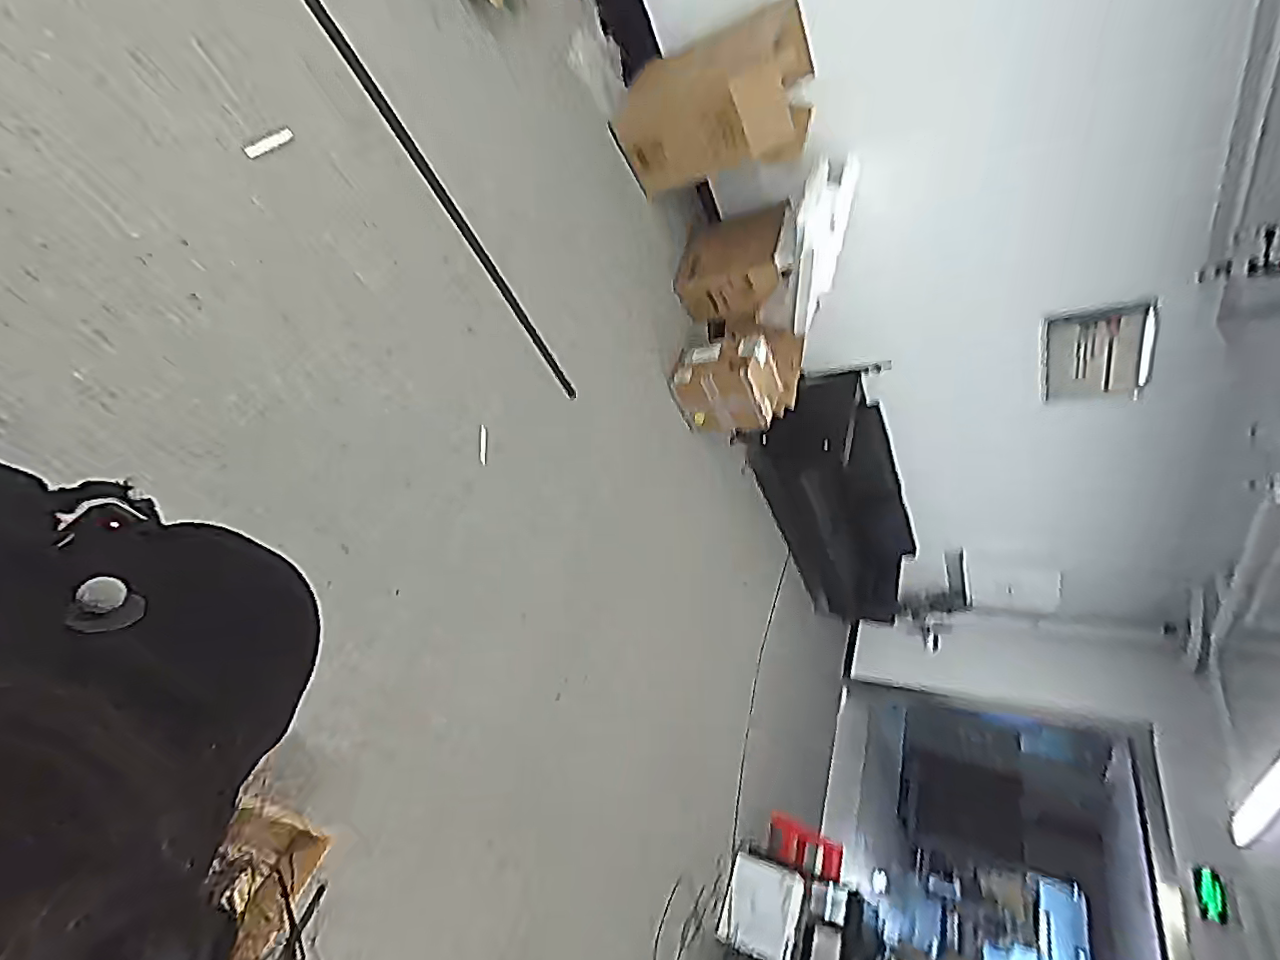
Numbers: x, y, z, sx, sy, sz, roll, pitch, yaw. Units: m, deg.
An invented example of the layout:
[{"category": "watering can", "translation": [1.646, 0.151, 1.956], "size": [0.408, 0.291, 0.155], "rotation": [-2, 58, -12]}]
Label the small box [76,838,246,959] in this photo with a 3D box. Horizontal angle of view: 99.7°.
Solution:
[{"category": "small box", "translation": [-0.966, 0.860, 1.096], "size": [0.179, 0.176, 0.168], "rotation": [58, 45, -38]}]
